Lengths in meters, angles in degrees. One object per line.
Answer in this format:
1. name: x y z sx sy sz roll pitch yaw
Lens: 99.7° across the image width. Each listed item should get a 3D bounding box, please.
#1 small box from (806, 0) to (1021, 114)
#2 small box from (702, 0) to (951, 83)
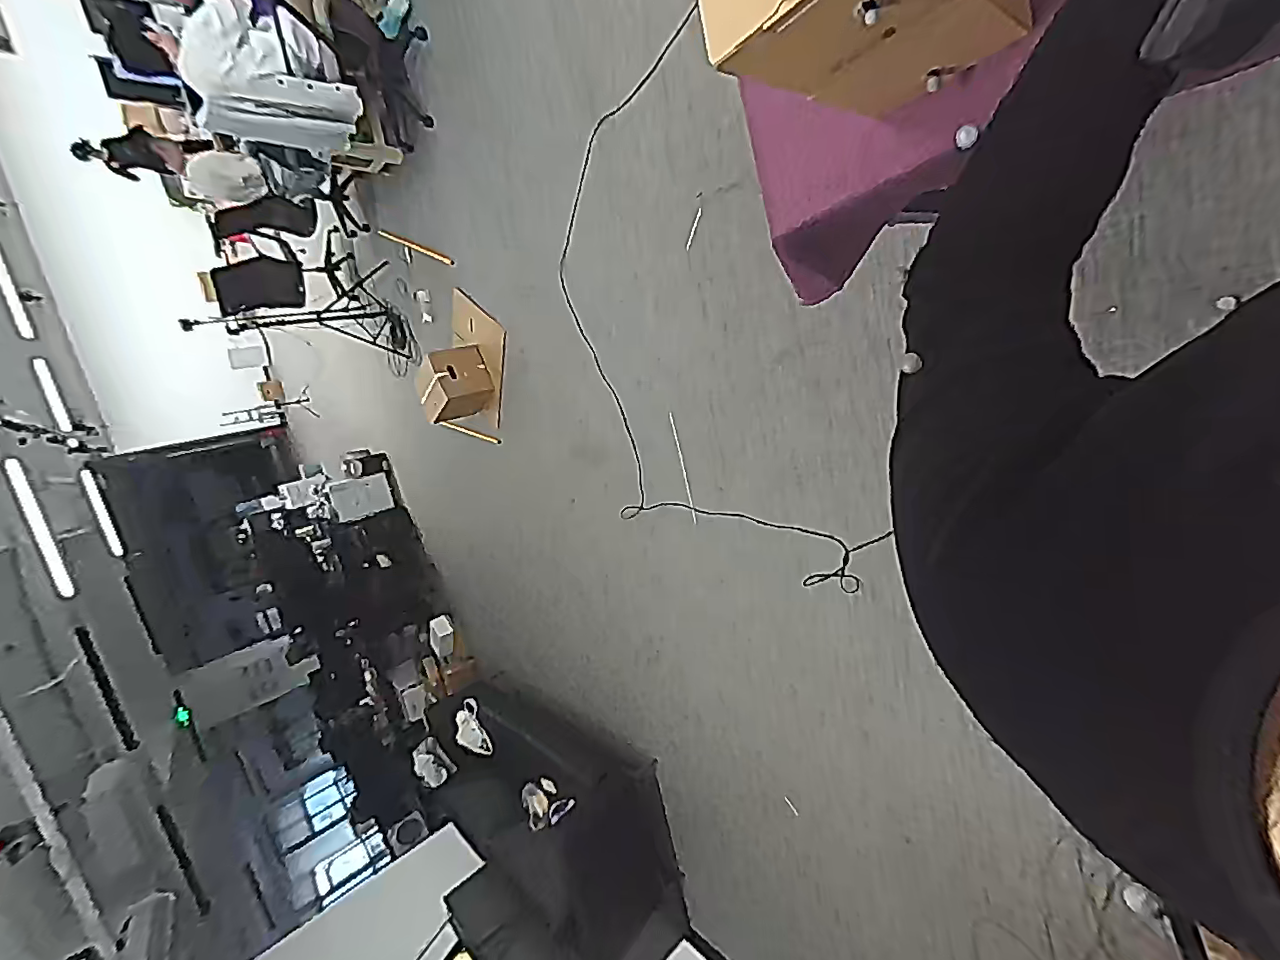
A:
1. small box: 0.289 -0.535 0.586 0.179 0.176 0.168 -2 104 51
2. small box: 0.165 -0.495 0.486 0.168 0.176 0.179 1 106 51
